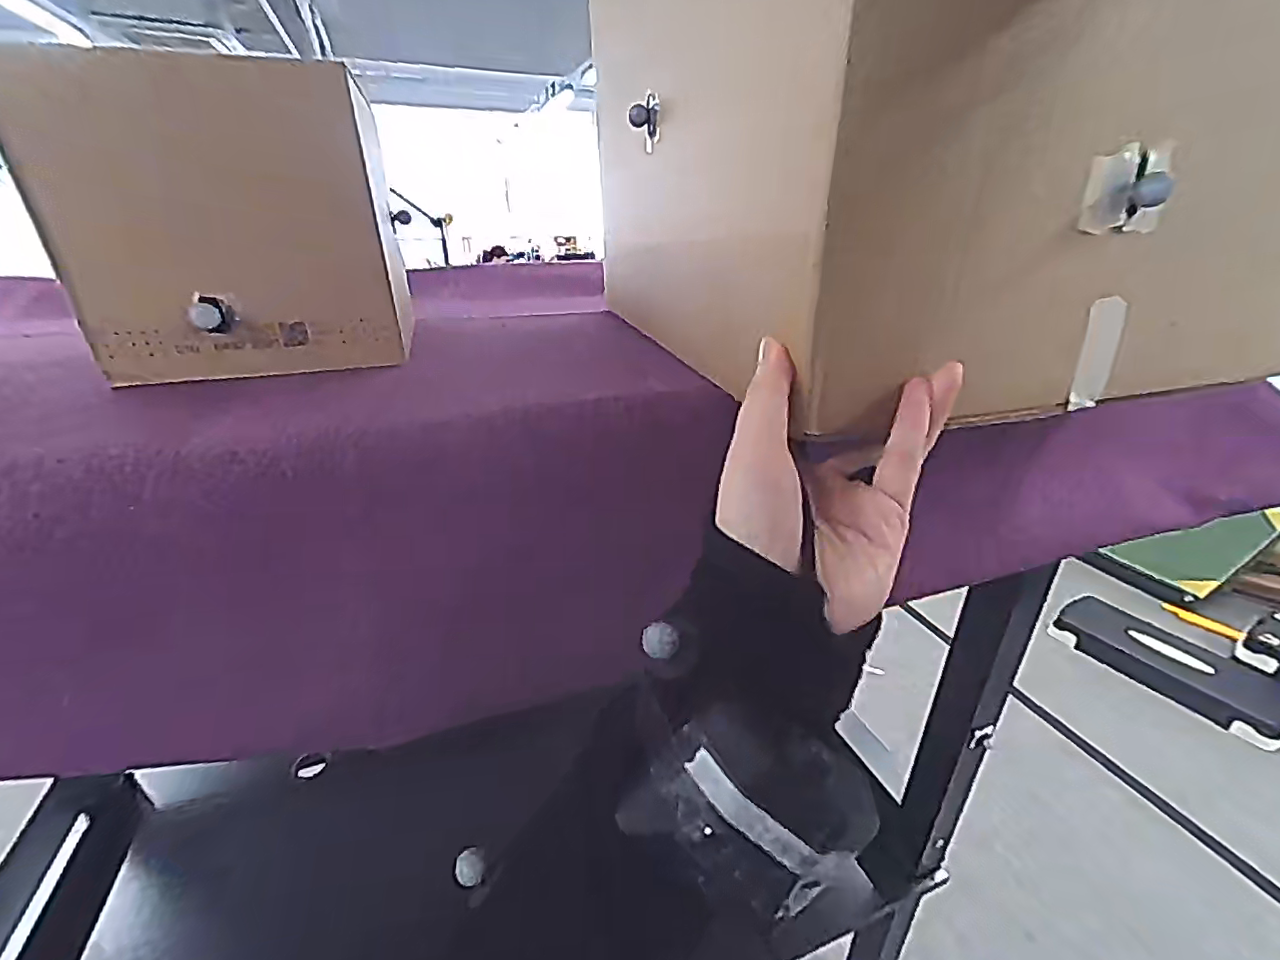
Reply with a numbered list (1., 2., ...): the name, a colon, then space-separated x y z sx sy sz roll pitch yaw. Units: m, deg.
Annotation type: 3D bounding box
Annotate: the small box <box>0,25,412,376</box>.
1. small box: -0.262 -0.176 0.372 0.168 0.176 0.179 -10 28 -17
